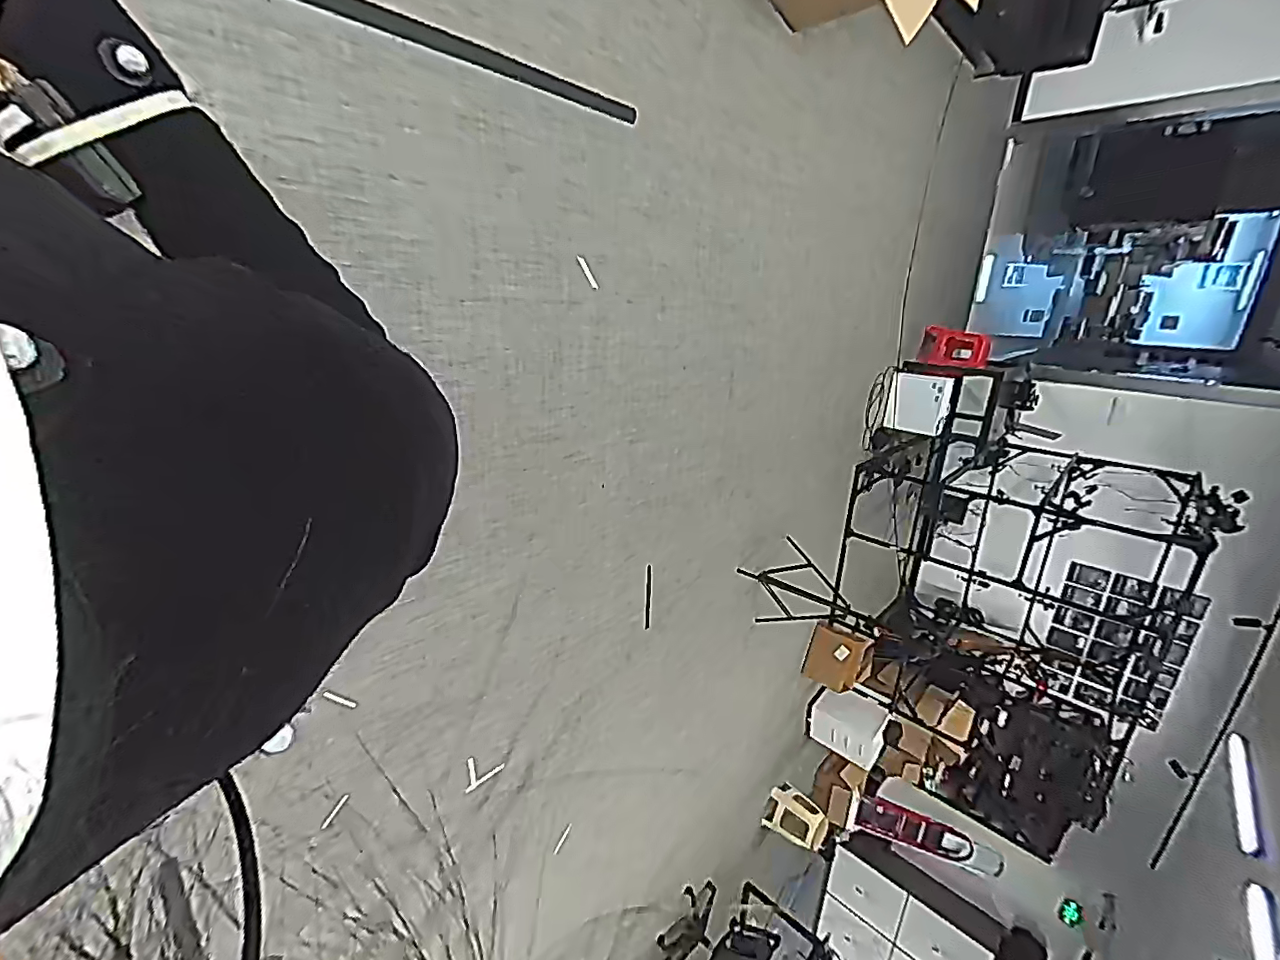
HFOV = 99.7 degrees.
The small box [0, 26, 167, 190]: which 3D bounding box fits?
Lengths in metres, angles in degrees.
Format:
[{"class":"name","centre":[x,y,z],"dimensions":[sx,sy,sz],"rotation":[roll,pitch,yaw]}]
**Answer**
[{"class":"small box","centre":[-0.853,-0.538,0.807],"dimensions":[0.179,0.176,0.168],"rotation":[-21,119,-44]}]

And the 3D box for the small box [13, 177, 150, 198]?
[{"class":"small box","centre":[-0.969,-0.585,0.916],"dimensions":[0.168,0.176,0.179],"rotation":[-20,120,-43]}]
